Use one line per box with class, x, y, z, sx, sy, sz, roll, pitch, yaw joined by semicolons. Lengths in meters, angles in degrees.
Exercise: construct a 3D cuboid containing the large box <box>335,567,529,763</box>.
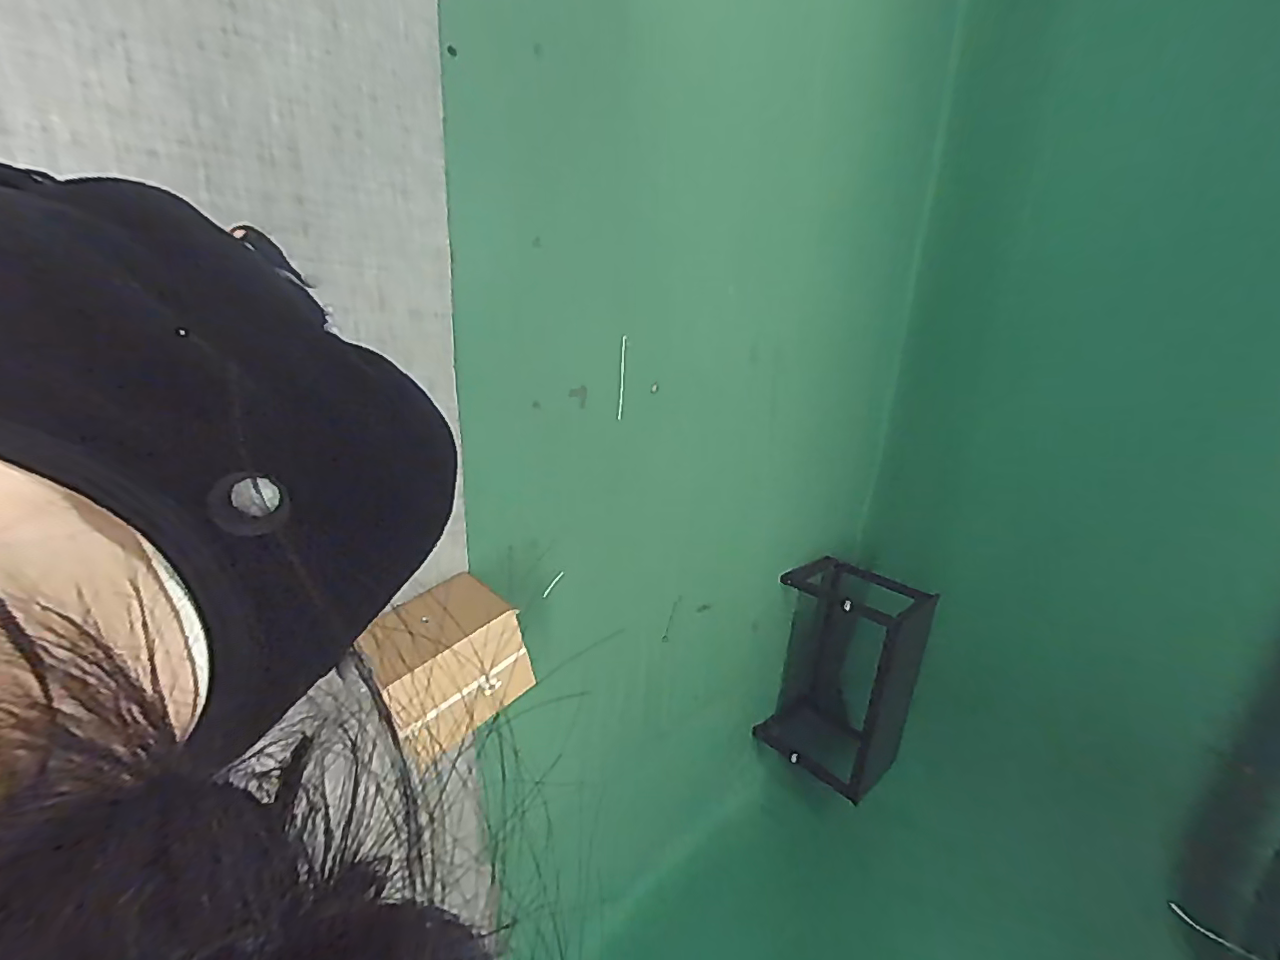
large box;-0.613;0.530;1.624;0.408;0.320;0.320;-30;126;-37
